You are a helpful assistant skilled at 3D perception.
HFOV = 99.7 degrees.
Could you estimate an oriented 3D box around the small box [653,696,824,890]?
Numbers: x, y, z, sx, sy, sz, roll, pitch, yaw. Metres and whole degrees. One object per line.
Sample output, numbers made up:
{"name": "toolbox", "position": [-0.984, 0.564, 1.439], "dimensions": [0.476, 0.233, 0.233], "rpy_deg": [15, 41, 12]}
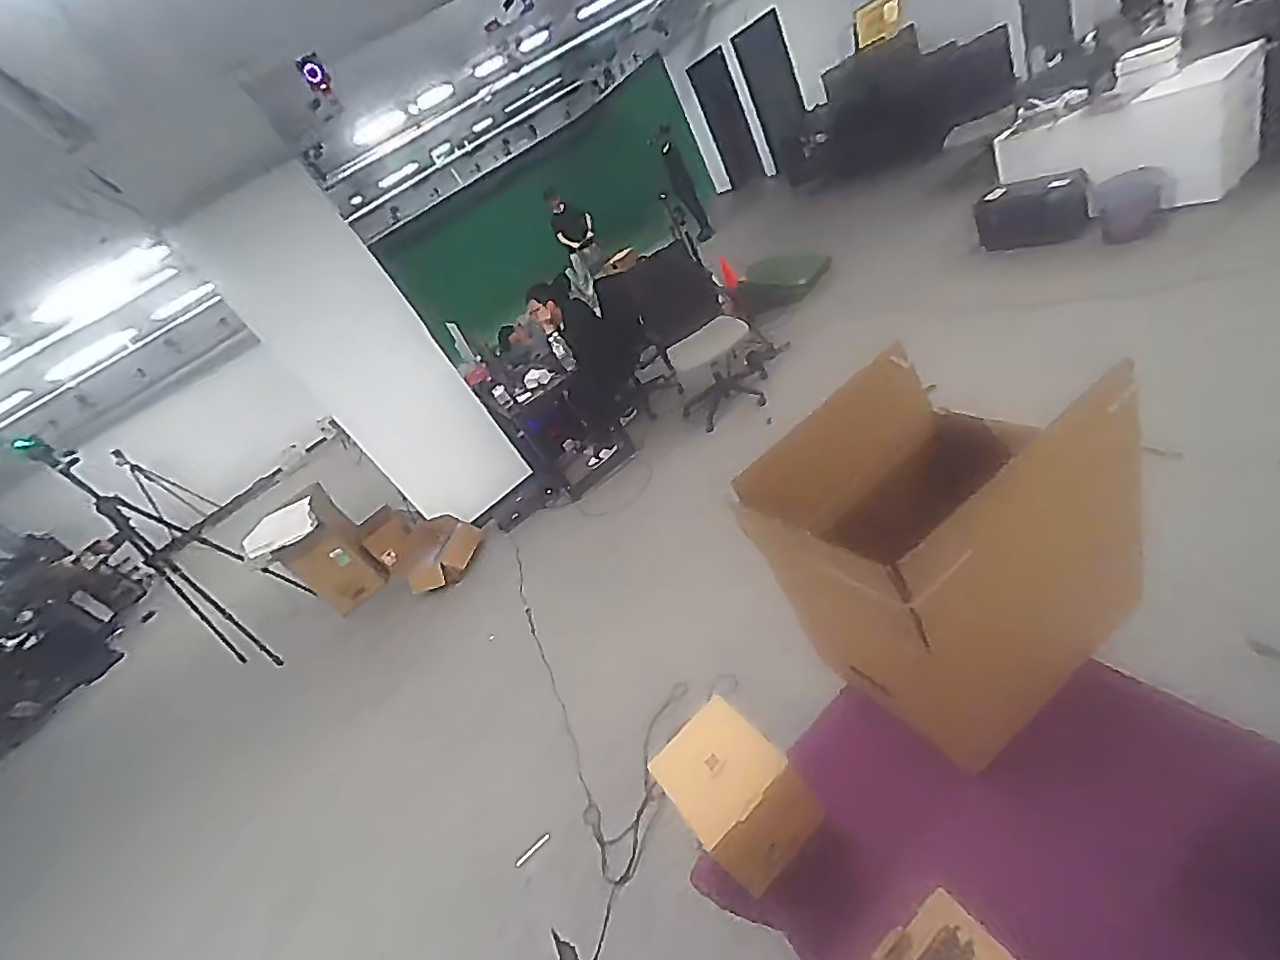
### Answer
{"name": "small box", "position": [0.156, 0.492, 0.857], "dimensions": [0.168, 0.176, 0.179], "rpy_deg": [-41, 31, -15]}
